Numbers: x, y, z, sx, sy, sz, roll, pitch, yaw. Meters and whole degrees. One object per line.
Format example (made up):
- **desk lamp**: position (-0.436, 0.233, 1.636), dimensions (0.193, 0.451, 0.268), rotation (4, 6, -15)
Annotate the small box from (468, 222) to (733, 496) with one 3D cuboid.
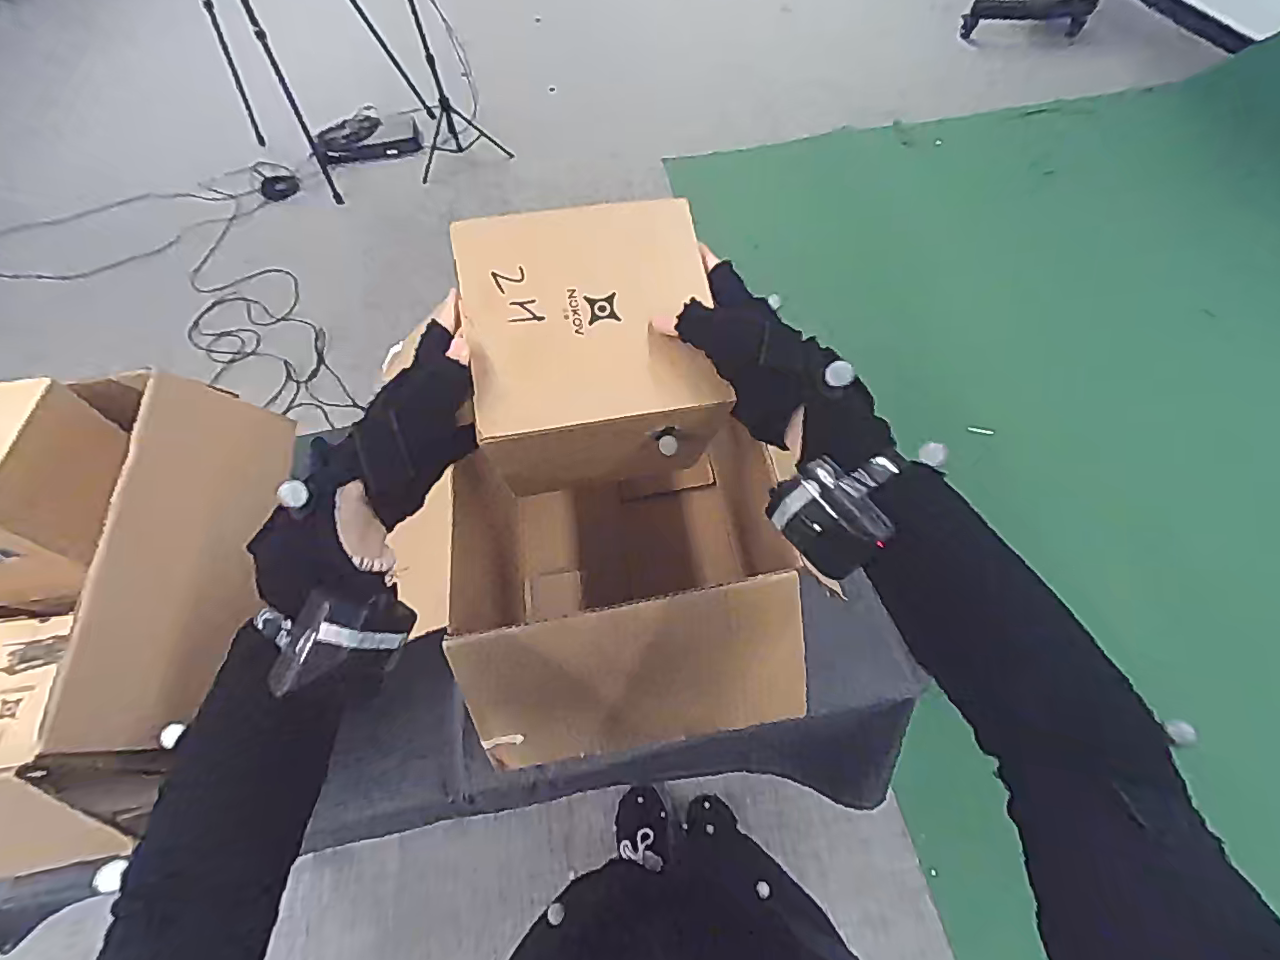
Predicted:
- **small box**: position (-0.038, -0.092, 0.468), dimensions (0.179, 0.176, 0.168), rotation (-8, 75, -8)
